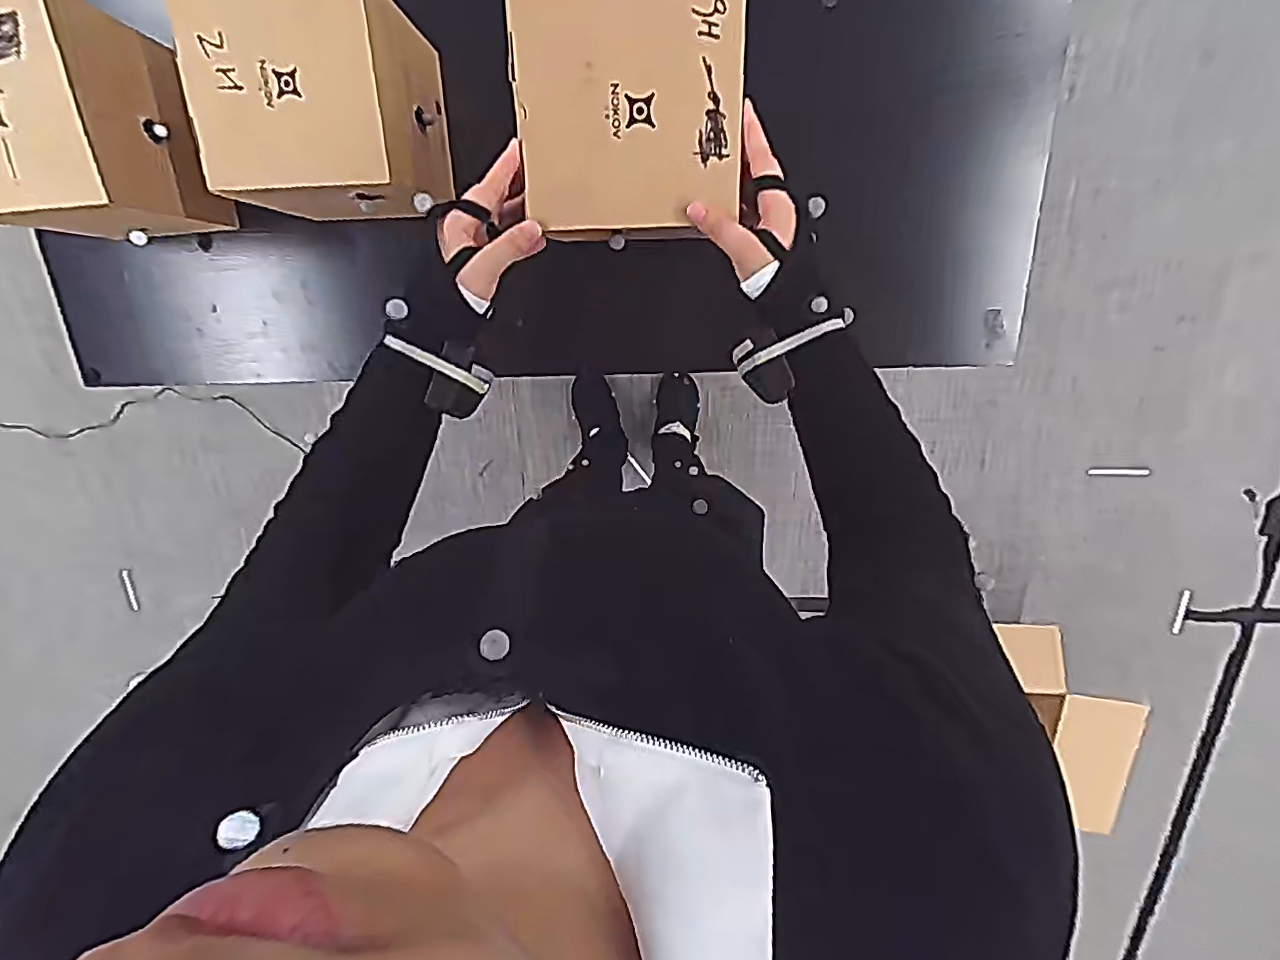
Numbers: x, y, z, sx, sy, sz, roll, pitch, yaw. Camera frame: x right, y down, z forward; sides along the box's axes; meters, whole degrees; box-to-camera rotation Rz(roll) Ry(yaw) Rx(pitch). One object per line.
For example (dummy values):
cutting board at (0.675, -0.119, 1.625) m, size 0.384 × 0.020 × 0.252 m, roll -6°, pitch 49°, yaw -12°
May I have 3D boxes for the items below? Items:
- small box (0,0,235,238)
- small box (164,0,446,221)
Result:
small box at (-0.579, -0.362, 0.565) m, size 0.168 × 0.176 × 0.179 m, roll -3°, pitch 108°, yaw 3°
small box at (-0.313, -0.368, 0.551) m, size 0.179 × 0.176 × 0.168 m, roll -1°, pitch 107°, yaw 2°
